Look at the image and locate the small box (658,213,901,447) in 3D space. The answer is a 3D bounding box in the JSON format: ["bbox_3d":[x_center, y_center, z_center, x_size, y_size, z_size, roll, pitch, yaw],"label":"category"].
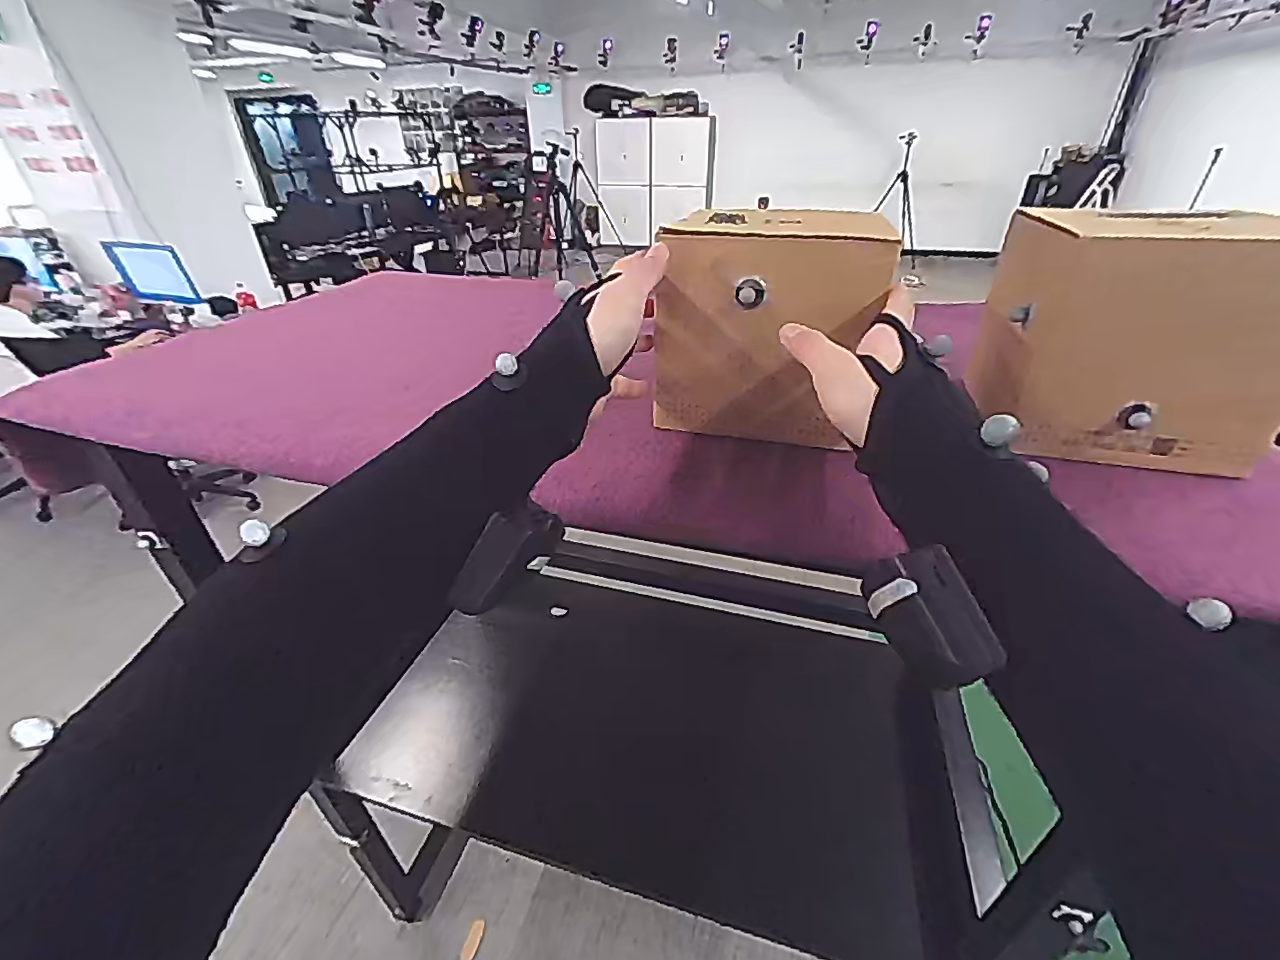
[{"bbox_3d":[0.119,-0.143,0.494,0.179,0.176,0.168,8,33,14],"label":"small box"}]
